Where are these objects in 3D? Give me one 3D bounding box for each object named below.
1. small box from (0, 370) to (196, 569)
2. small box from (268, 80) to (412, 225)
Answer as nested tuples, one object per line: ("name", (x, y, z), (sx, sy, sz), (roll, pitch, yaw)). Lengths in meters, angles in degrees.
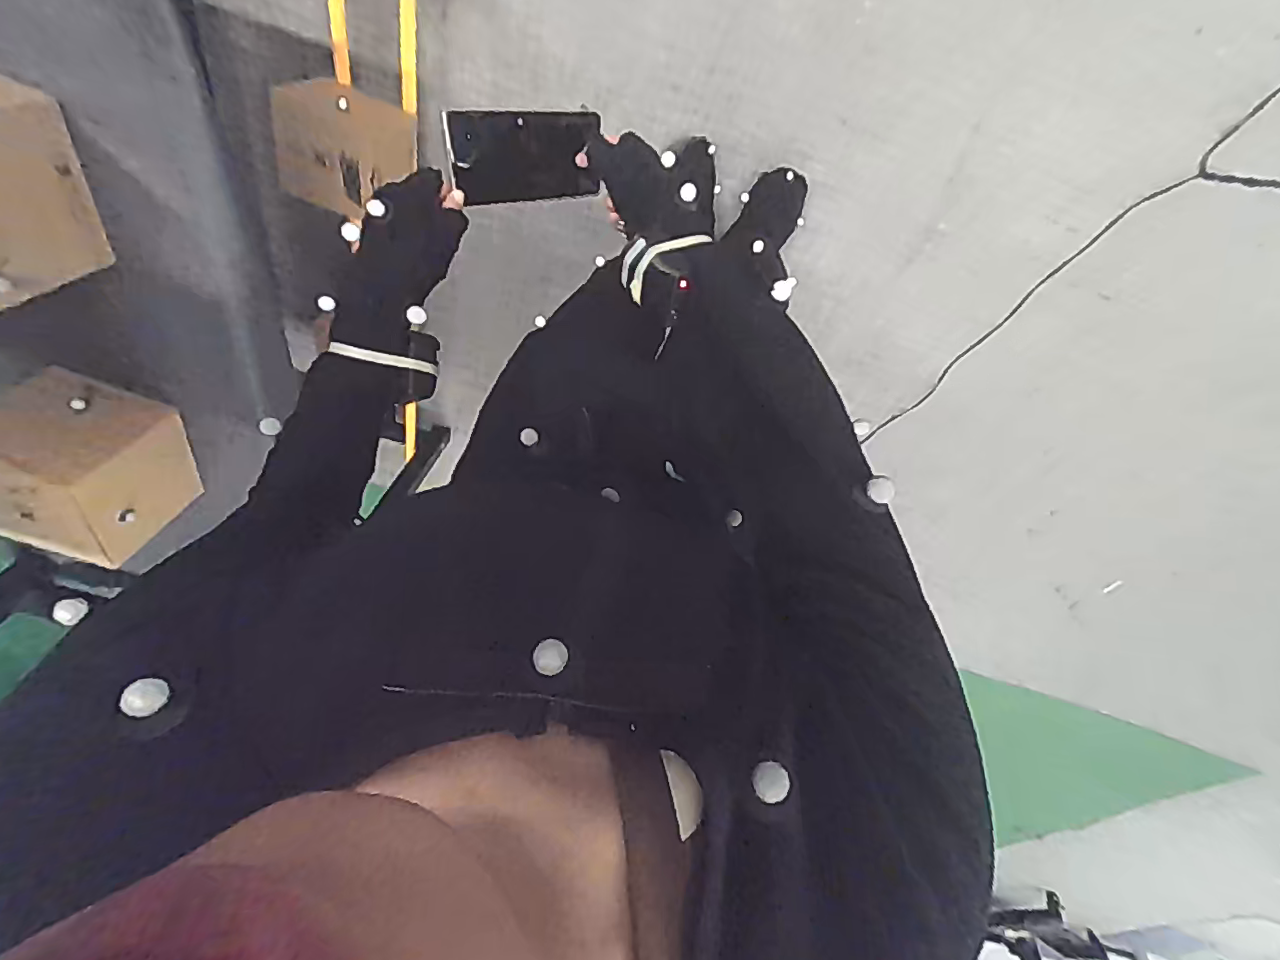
("small box", (-0.753, -0.015, 0.731), (0.168, 0.176, 0.179), (20, 132, -7))
("small box", (-0.542, -0.611, 1.002), (0.179, 0.176, 0.168), (20, 132, -7))
